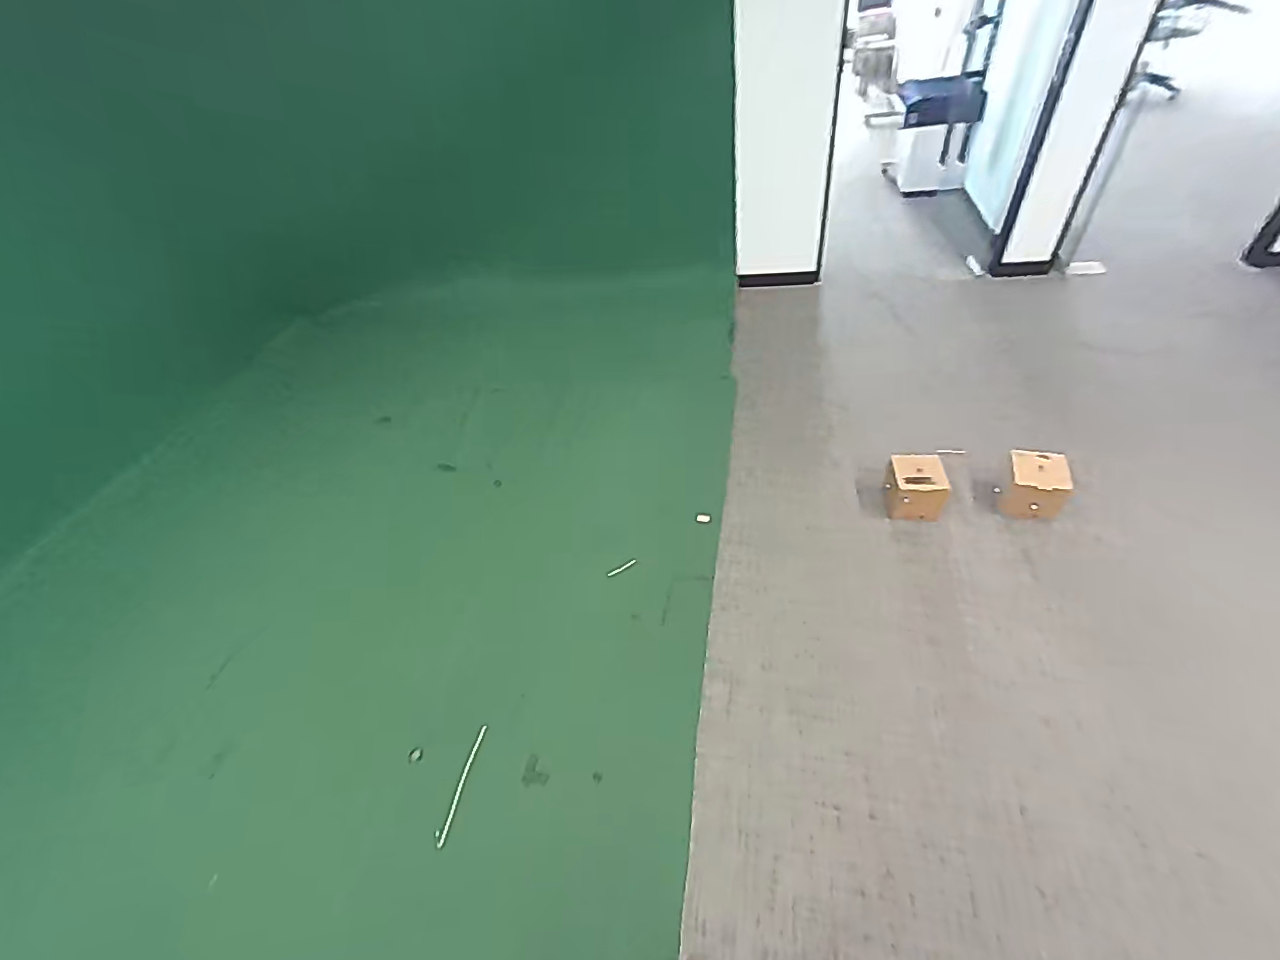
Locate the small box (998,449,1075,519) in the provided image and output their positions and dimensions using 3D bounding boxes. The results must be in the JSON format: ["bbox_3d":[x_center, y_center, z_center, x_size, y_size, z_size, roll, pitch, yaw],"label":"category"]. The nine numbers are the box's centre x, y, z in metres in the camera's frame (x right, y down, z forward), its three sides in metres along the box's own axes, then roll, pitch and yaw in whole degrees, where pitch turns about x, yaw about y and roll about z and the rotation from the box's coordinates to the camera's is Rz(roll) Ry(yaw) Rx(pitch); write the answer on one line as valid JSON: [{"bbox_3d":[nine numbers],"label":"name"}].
[{"bbox_3d":[1.381,0.016,1.896,0.168,0.176,0.179,8,50,18],"label":"small box"}]
